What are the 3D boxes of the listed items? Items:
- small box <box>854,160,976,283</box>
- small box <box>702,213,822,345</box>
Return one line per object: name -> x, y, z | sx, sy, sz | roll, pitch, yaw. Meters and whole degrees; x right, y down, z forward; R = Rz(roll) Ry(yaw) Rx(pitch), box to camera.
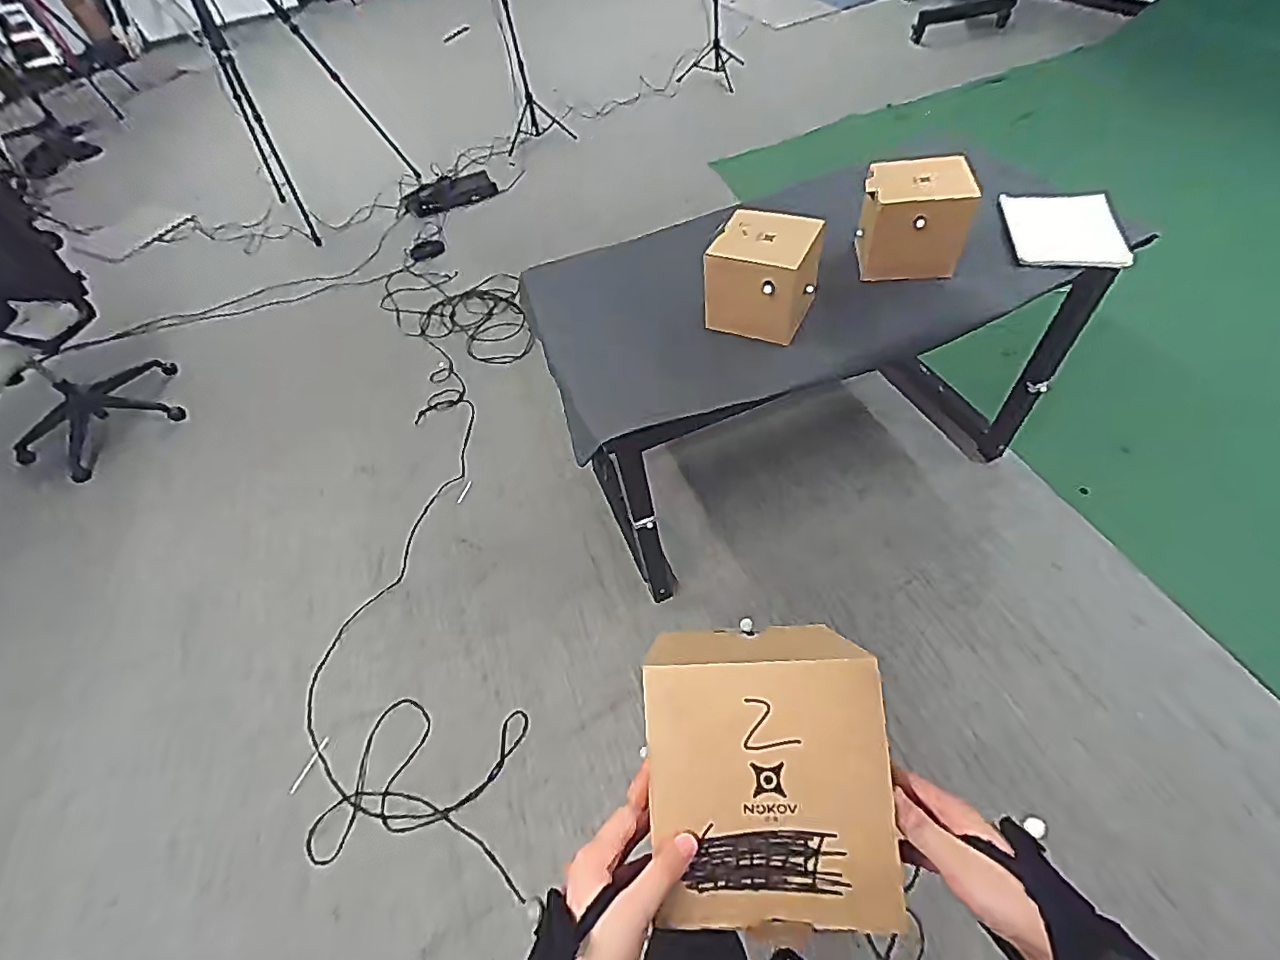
small box -> 0.549, -0.523, 1.104 | 0.179, 0.176, 0.168 | 1, 54, 12
small box -> 0.235, -0.389, 1.055 | 0.179, 0.176, 0.168 | 19, 58, 22
